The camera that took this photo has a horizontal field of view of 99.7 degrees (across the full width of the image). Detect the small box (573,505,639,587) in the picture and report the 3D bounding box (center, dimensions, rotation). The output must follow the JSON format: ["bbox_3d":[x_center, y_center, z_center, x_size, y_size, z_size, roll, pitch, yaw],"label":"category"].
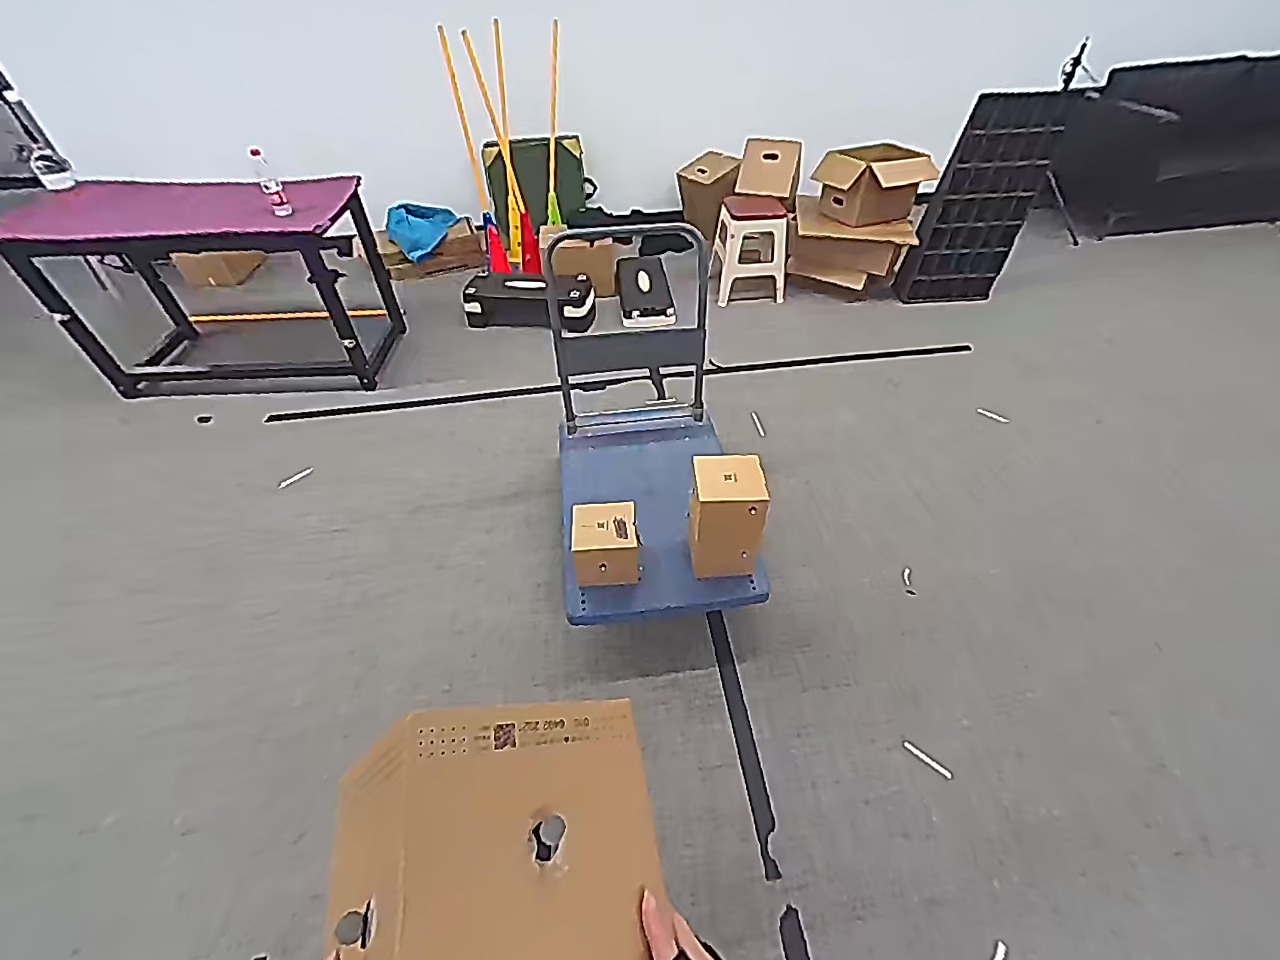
[{"bbox_3d":[-0.091,0.188,1.529,0.179,0.176,0.168,-3,45,-1],"label":"small box"}]

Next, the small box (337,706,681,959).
[{"bbox_3d":[-0.103,0.266,0.377,0.168,0.179,0.176,14,47,-34],"label":"small box"}]

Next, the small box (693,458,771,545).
[{"bbox_3d":[0.232,0.060,1.422,0.179,0.176,0.168,-1,45,-1],"label":"small box"}]
